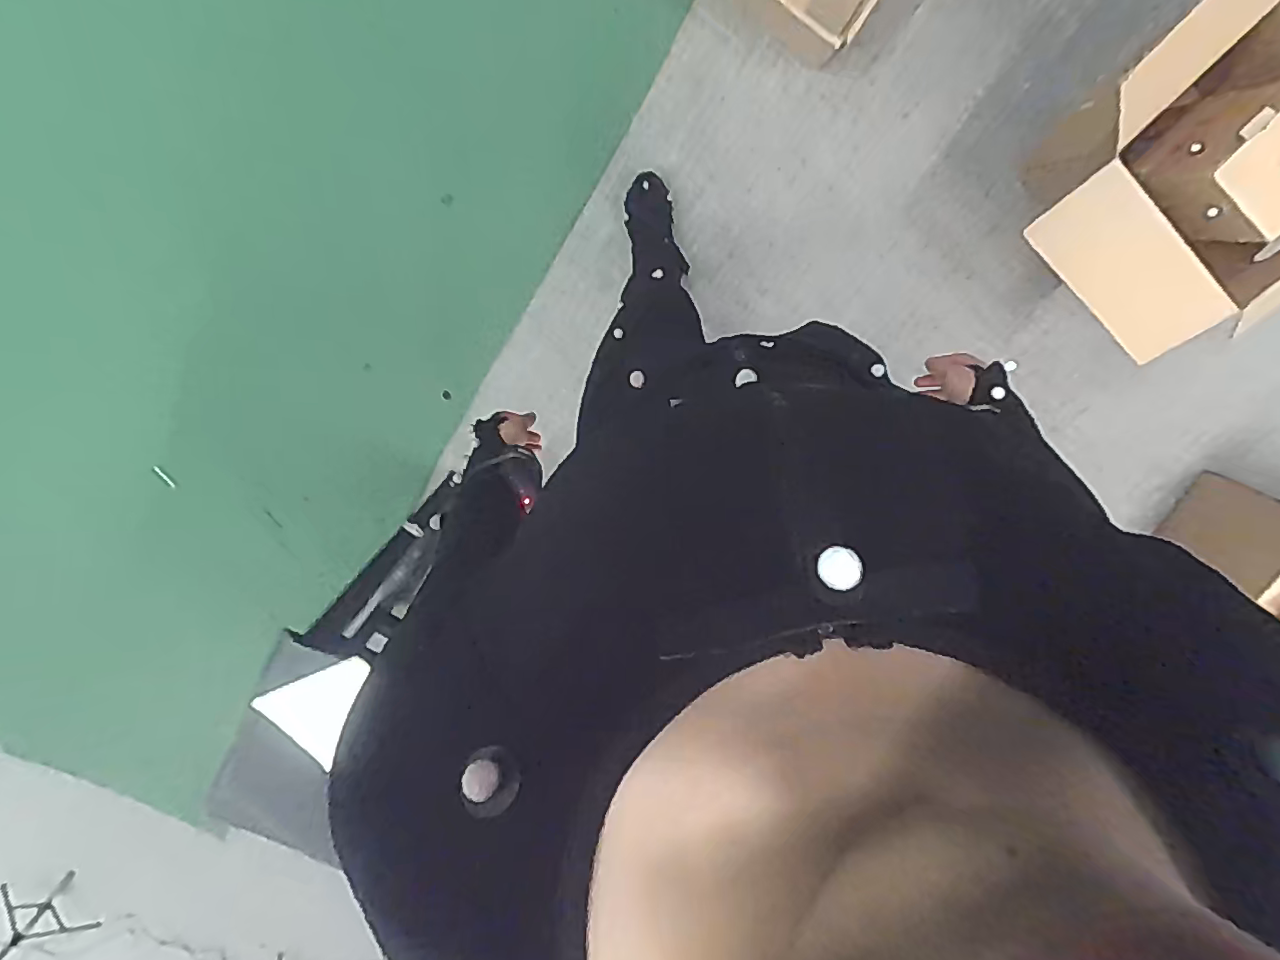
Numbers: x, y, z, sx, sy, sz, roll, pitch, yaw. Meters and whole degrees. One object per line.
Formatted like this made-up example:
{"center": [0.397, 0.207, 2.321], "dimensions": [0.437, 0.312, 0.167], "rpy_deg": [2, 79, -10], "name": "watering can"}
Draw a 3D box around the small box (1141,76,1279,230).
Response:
{"center": [1.047, -0.558, 0.938], "dimensions": [0.179, 0.176, 0.168], "rpy_deg": [34, 114, -12], "name": "small box"}
